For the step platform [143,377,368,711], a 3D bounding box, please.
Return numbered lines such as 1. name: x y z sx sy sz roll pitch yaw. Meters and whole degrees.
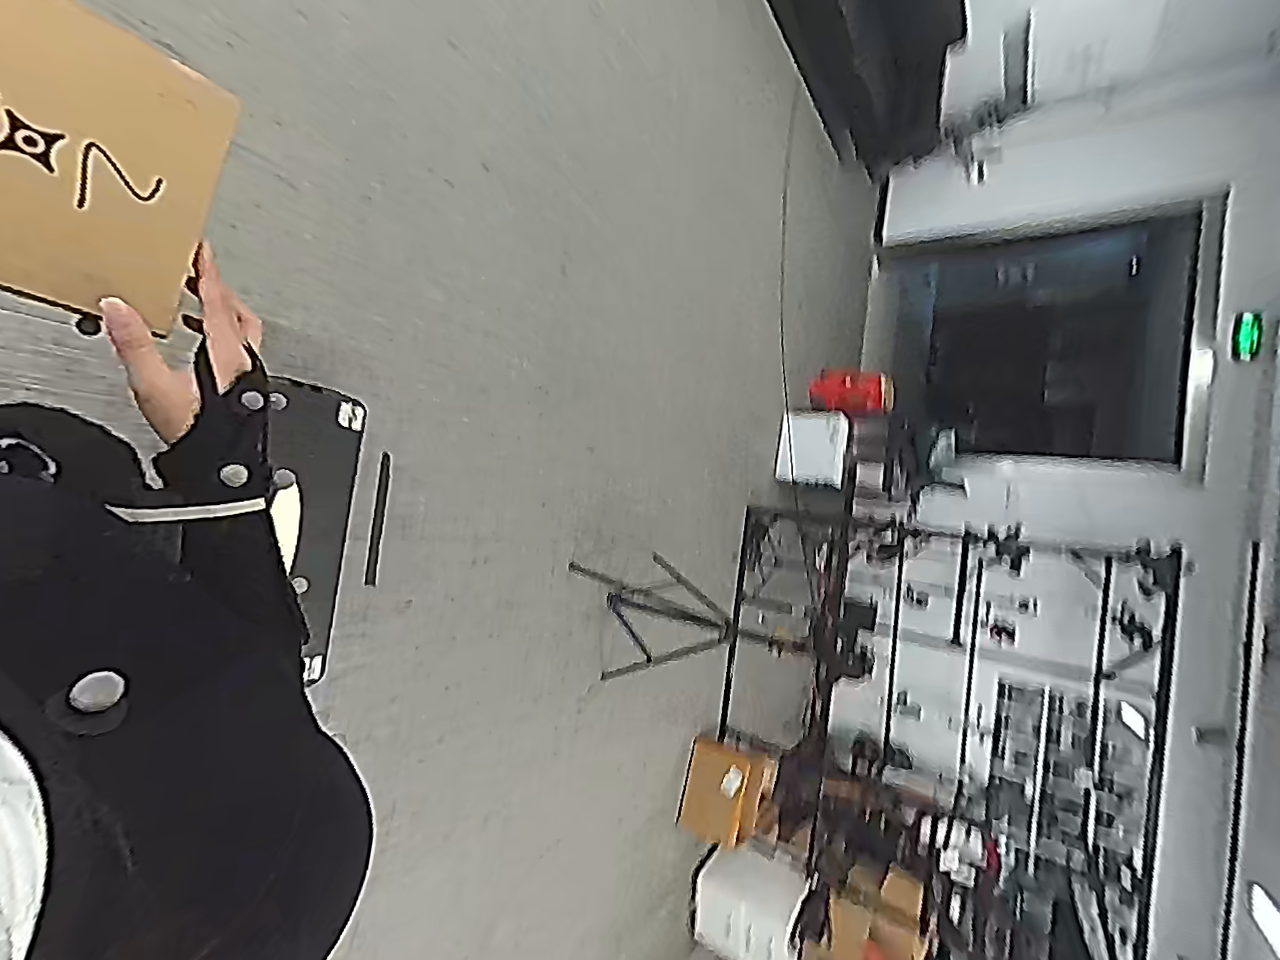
1. step platform: -0.812 0.130 1.171 0.286 0.204 0.684 12 84 -56
